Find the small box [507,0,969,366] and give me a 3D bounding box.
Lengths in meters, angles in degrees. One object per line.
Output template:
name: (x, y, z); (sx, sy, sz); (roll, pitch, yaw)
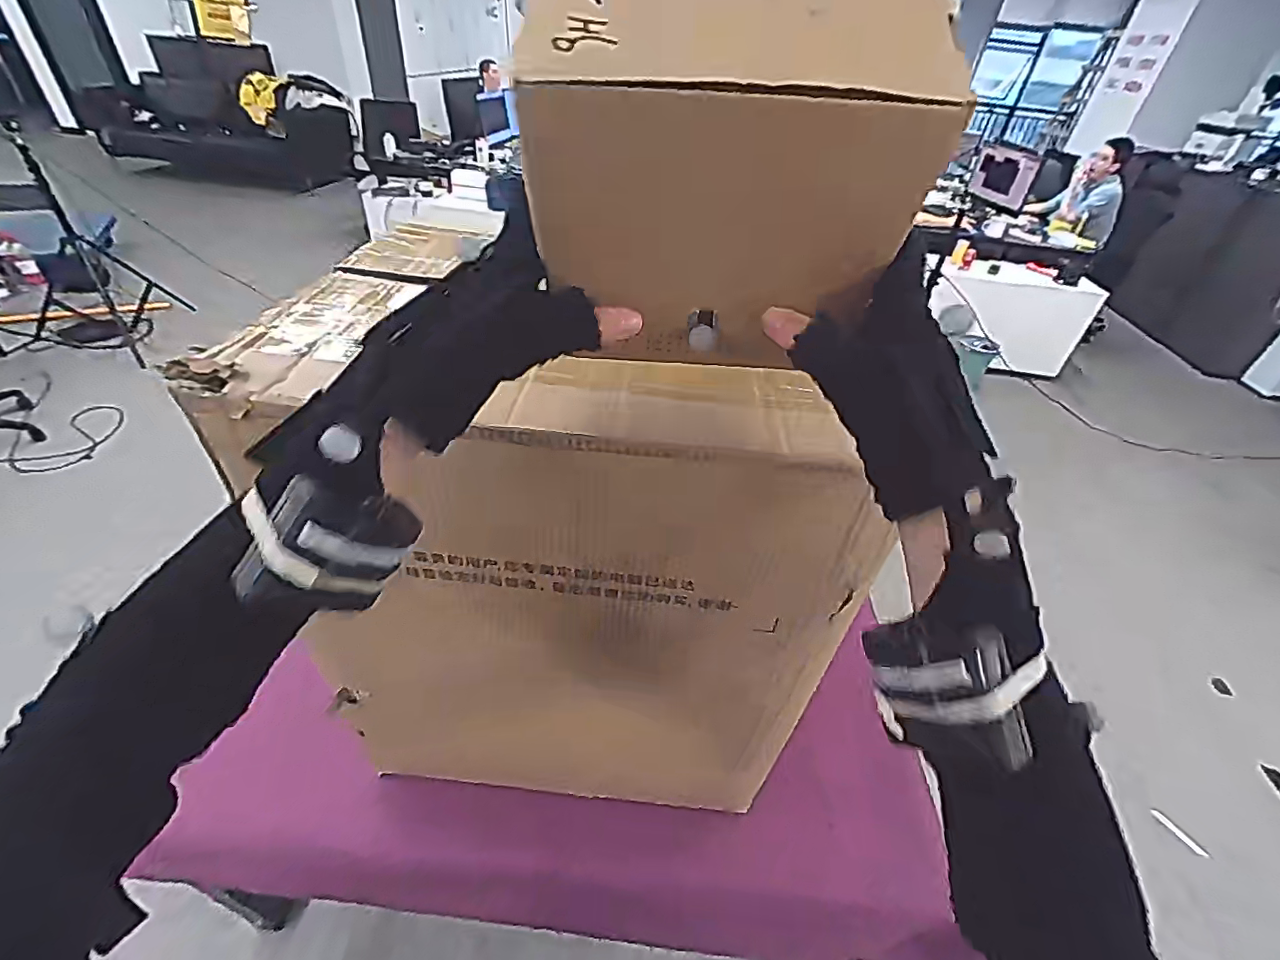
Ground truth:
small box: (0.038, -0.180, 0.304); (0.179, 0.176, 0.168); (3, 66, -1)
